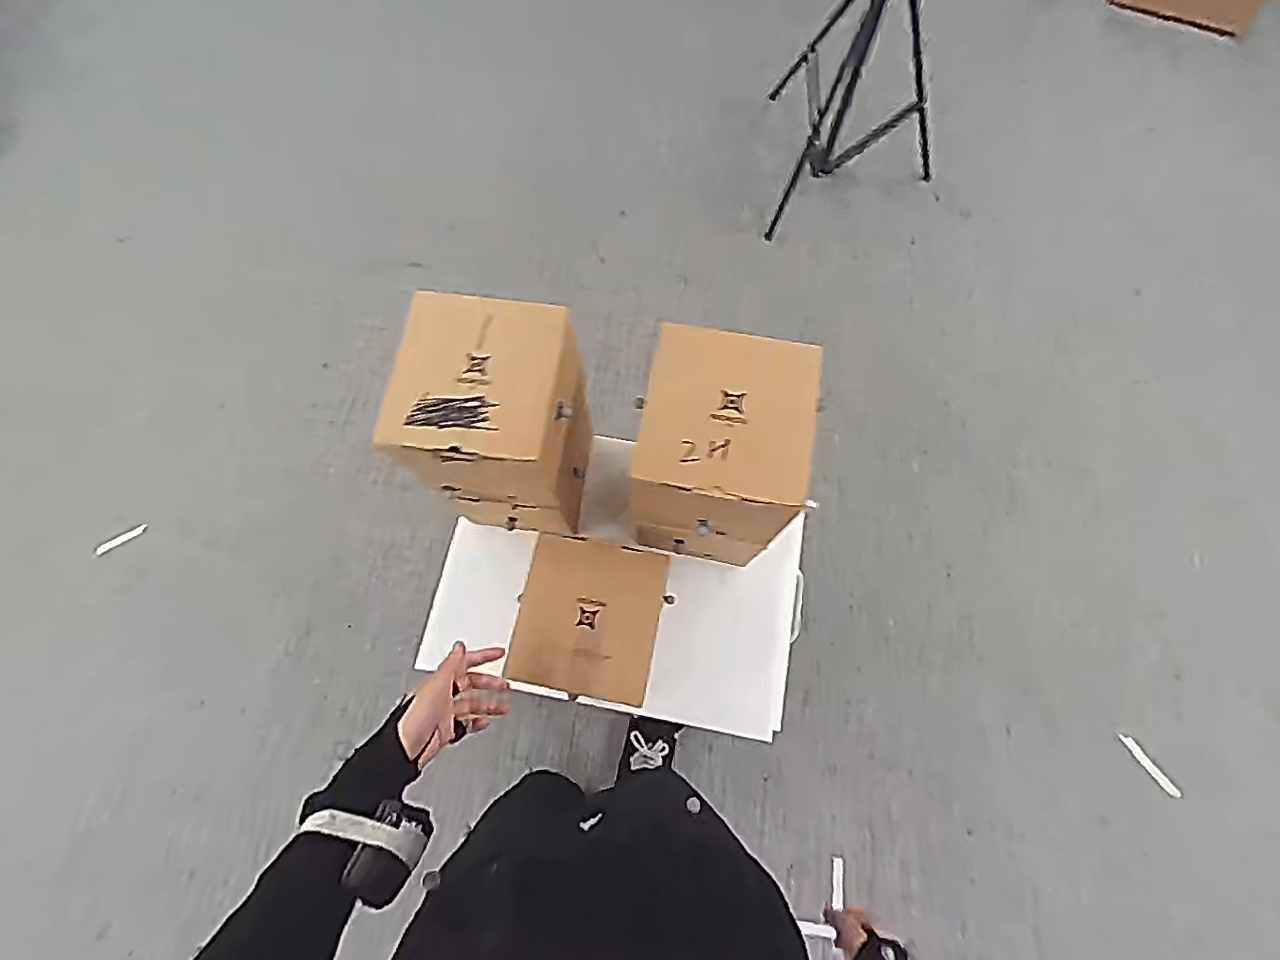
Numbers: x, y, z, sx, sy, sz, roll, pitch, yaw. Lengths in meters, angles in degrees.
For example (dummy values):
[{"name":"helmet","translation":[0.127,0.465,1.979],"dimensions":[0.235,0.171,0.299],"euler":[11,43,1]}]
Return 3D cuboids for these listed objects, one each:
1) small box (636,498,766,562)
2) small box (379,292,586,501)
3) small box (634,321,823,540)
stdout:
[{"name":"small box","translation":[0.096,0.008,0.760],"dimensions":[0.168,0.176,0.179],"euler":[11,73,5]},{"name":"small box","translation":[-0.161,-0.084,0.618],"dimensions":[0.168,0.176,0.179],"euler":[7,73,3]},{"name":"small box","translation":[0.091,-0.046,0.603],"dimensions":[0.168,0.176,0.179],"euler":[10,73,5]}]
